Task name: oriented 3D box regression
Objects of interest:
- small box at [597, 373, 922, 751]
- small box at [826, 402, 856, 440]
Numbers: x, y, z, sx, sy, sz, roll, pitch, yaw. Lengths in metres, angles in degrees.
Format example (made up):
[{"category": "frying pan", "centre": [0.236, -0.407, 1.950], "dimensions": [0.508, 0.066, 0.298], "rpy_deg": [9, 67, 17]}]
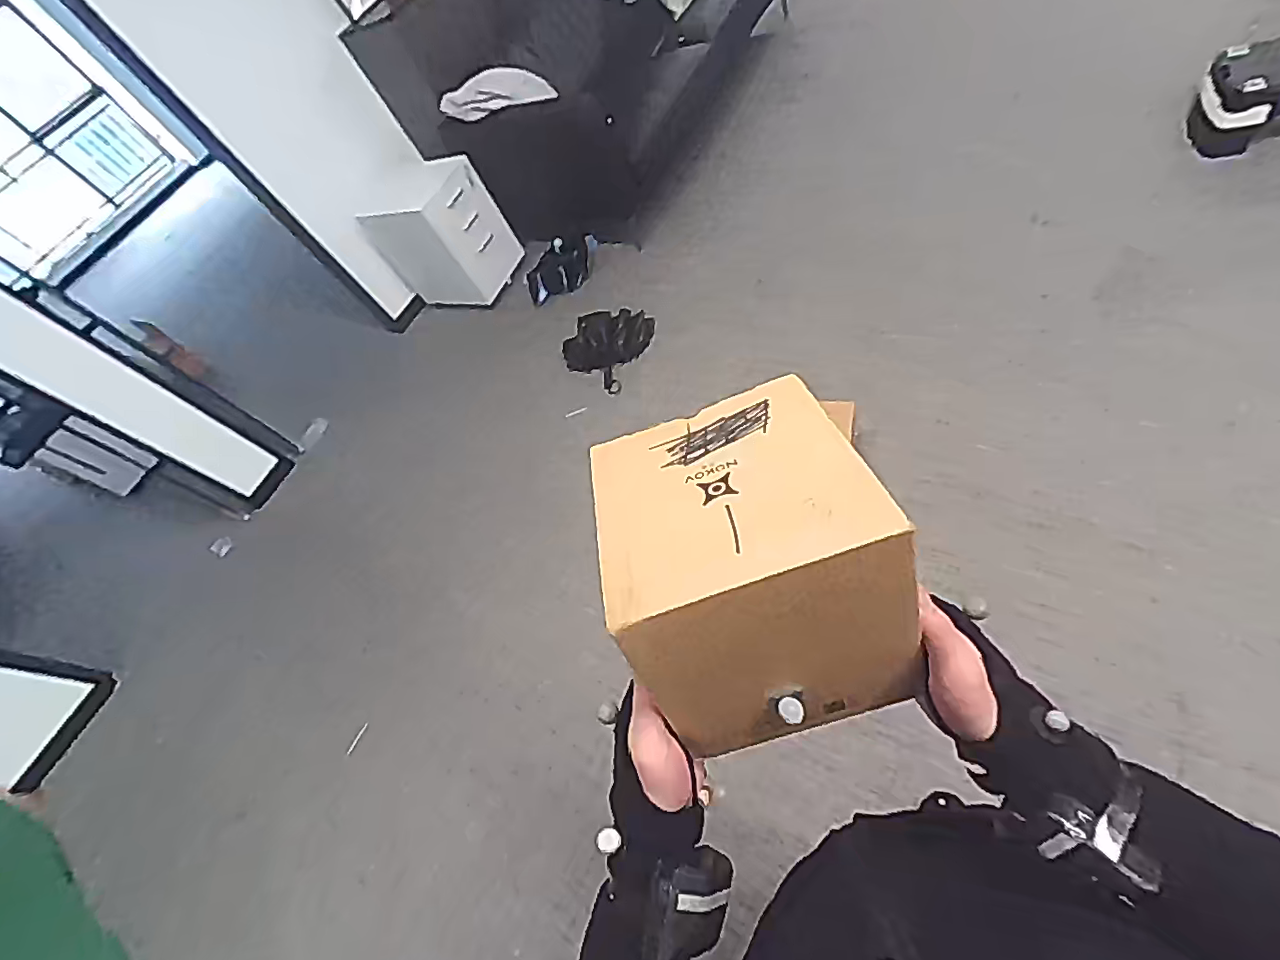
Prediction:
[{"category": "small box", "centre": [0.077, 0.057, 0.386], "dimensions": [0.168, 0.176, 0.179], "rpy_deg": [-20, 38, 8]}, {"category": "small box", "centre": [0.576, -0.124, 1.680], "dimensions": [0.168, 0.176, 0.179], "rpy_deg": [4, 60, 25]}]
